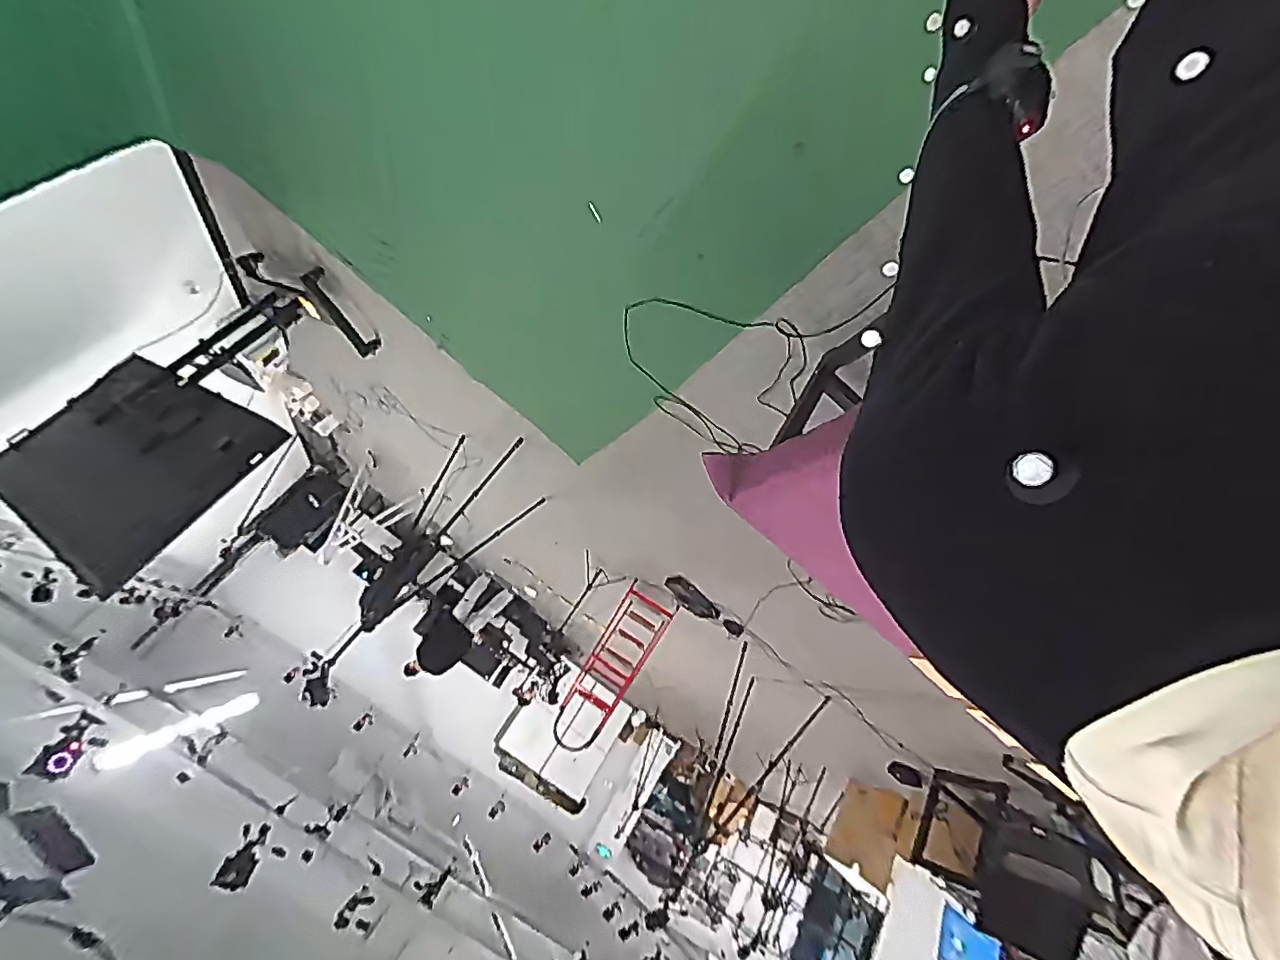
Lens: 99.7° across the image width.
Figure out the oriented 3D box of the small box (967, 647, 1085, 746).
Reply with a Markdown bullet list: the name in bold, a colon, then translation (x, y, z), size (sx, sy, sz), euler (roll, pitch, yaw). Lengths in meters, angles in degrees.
- **small box**: translation (0.988, 0.543, 1.382), size (0.168, 0.176, 0.179), euler (39, 152, -8)

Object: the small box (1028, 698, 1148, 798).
- **small box**: translation (1.165, 0.684, 1.405), size (0.168, 0.176, 0.179), euler (37, 153, -4)
